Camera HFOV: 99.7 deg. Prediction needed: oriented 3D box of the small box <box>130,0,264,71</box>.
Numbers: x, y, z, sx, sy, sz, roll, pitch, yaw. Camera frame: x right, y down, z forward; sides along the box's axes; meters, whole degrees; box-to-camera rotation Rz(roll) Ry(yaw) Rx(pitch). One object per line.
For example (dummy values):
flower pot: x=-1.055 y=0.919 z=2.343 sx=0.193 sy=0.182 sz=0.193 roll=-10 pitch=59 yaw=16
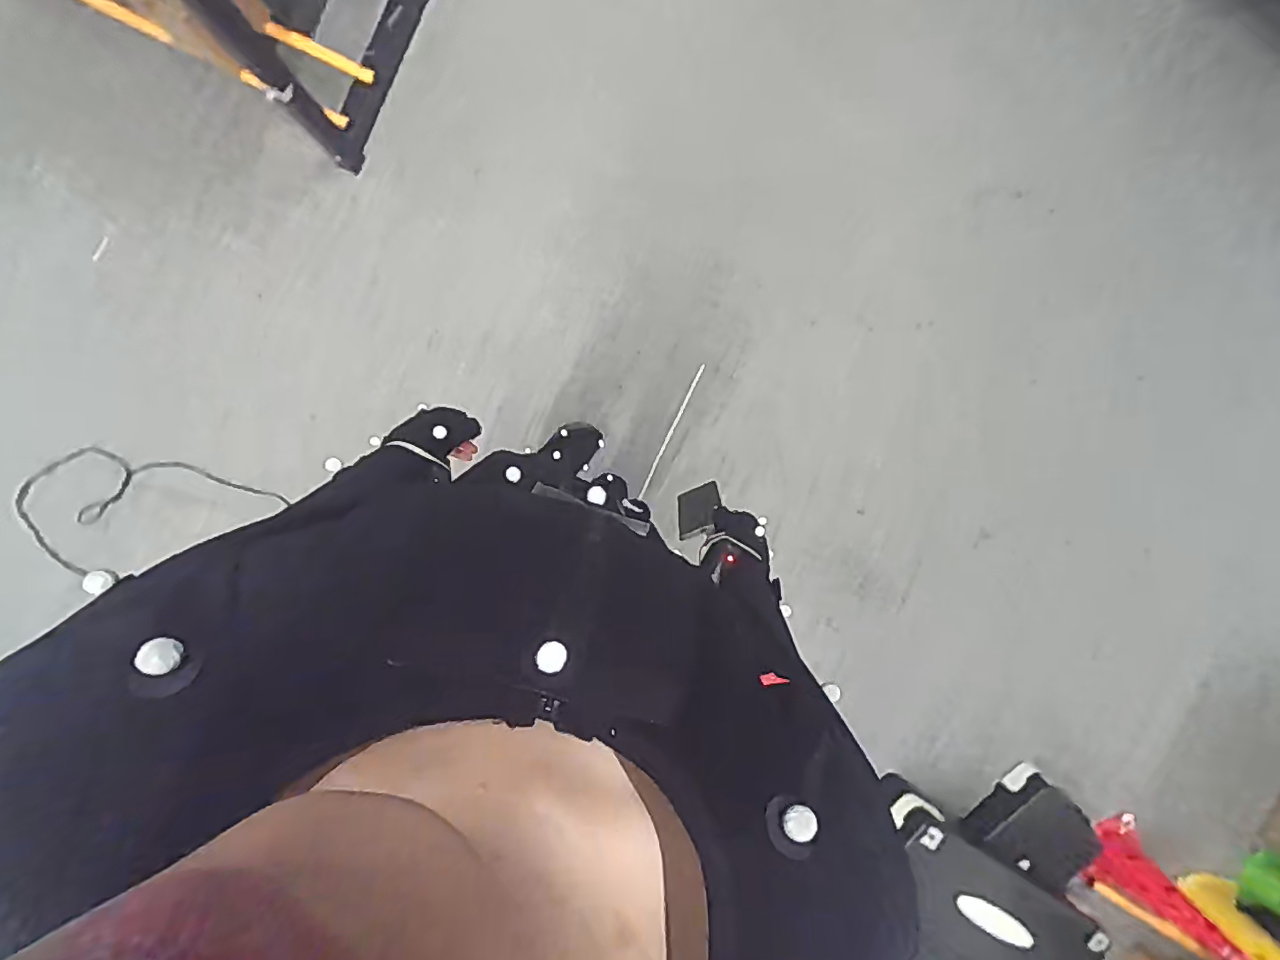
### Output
small box: x=-0.974 y=-1.054 z=1.177 sx=0.168 sy=0.176 sz=0.179 roll=28 pitch=91 yaw=-5
